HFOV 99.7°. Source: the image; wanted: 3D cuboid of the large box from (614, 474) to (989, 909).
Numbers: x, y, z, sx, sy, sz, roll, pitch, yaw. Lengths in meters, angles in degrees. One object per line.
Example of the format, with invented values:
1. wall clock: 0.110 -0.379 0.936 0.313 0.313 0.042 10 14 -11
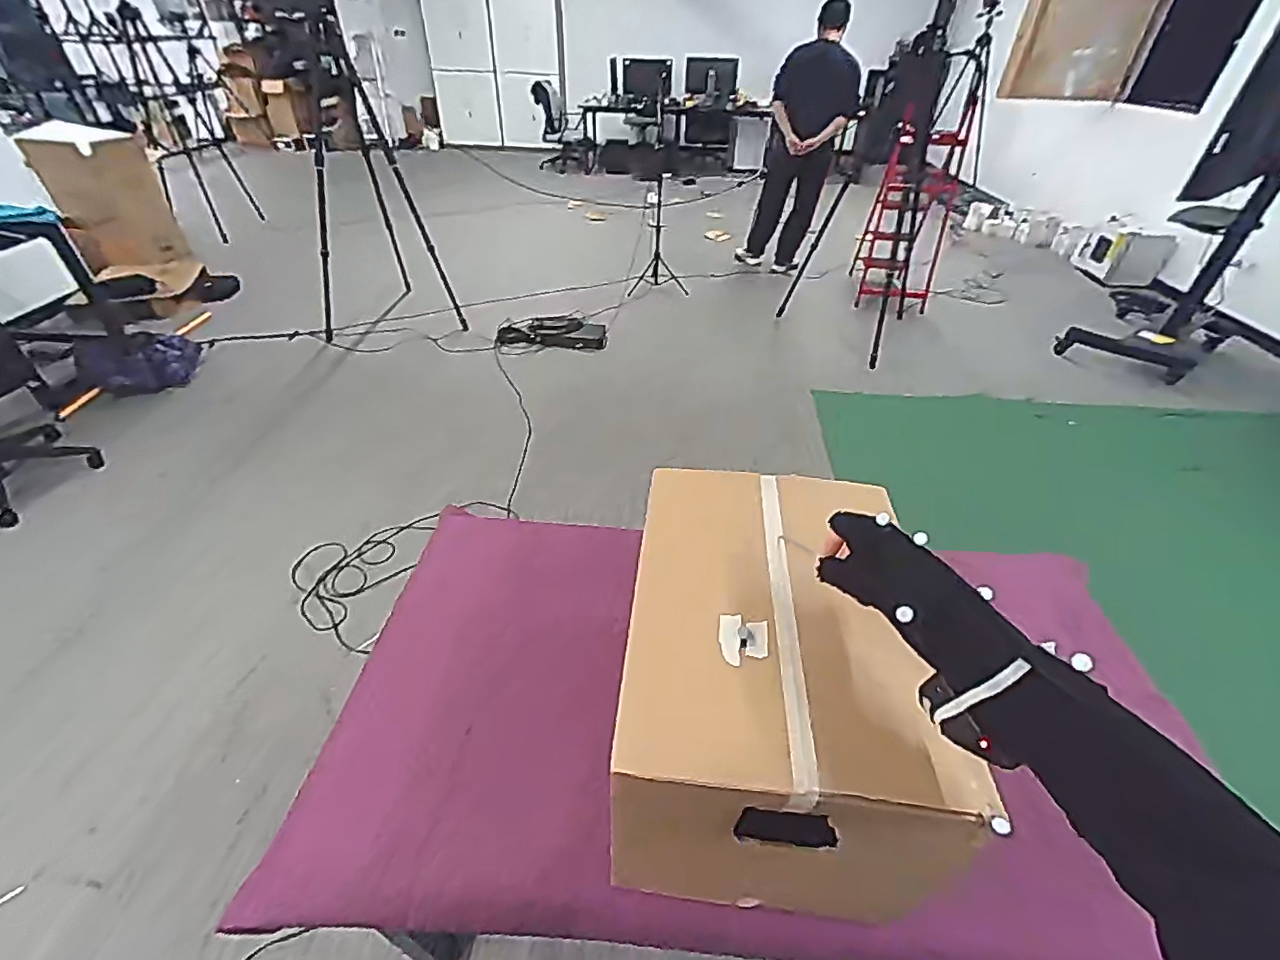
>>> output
1. large box: 0.145 0.246 0.690 0.320 0.320 0.408 5 40 4
